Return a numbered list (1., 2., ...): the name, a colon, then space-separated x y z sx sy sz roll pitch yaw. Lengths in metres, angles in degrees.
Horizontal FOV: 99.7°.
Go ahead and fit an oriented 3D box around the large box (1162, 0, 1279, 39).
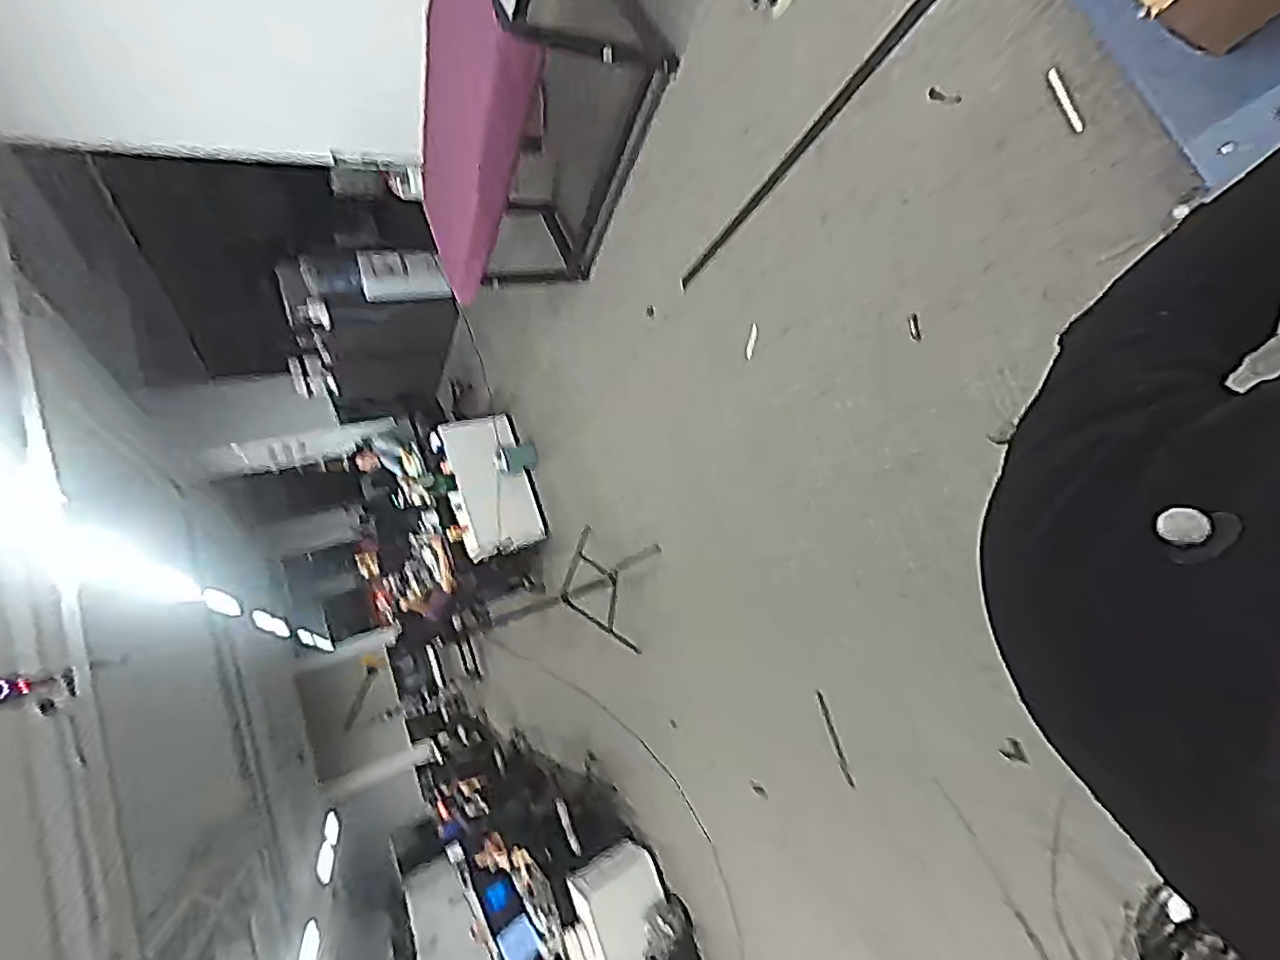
1. large box: 0.839 -0.856 0.636 0.408 0.320 0.320 -38 70 58
